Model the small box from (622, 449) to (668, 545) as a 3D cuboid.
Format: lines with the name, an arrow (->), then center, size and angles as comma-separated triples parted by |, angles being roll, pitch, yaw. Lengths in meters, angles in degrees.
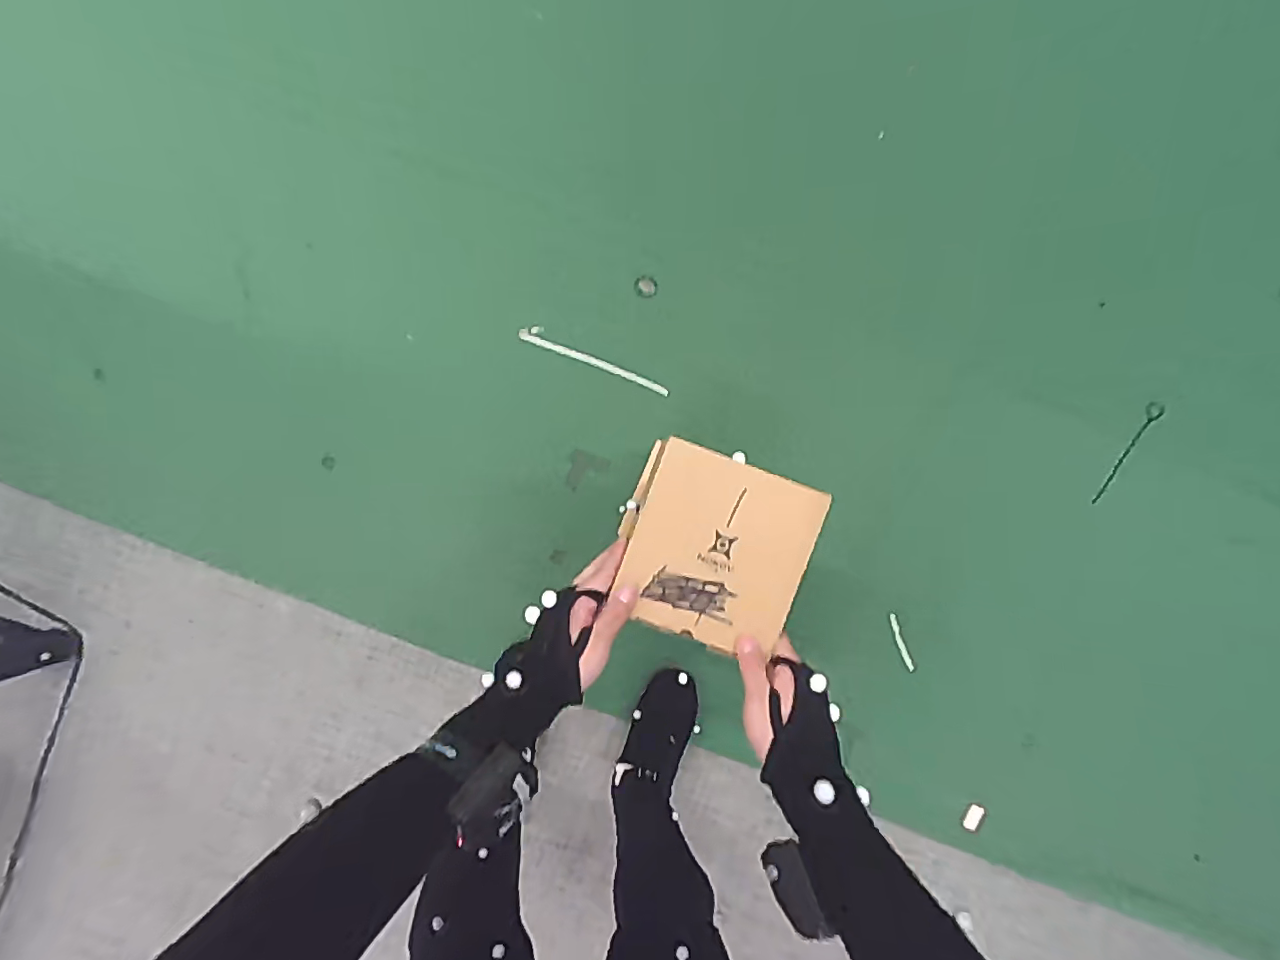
small box -> 0.074, 0.056, 0.989 | 0.168, 0.176, 0.179 | 22, 91, 0

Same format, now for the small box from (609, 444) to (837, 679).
small box -> 0.077, 0.074, 0.576 | 0.168, 0.176, 0.179 | 21, 91, -1
